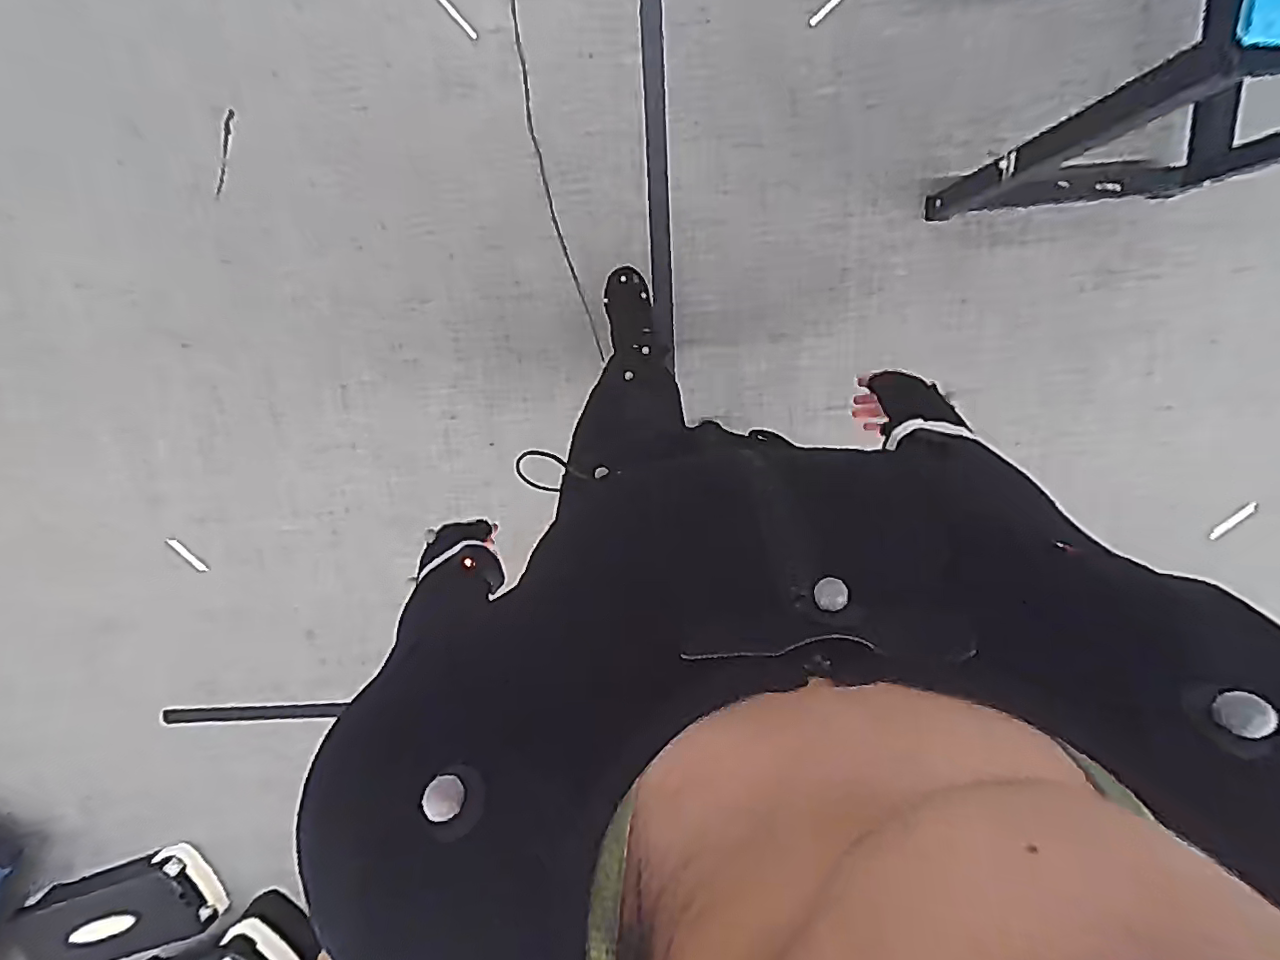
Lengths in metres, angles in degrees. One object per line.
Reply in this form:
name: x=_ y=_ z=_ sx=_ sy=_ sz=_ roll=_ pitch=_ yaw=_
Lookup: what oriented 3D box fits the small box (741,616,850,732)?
small box: x=0.378 y=0.475 z=1.330 sx=0.179 sy=0.176 sz=0.168 roll=33 pitch=102 yaw=-7
